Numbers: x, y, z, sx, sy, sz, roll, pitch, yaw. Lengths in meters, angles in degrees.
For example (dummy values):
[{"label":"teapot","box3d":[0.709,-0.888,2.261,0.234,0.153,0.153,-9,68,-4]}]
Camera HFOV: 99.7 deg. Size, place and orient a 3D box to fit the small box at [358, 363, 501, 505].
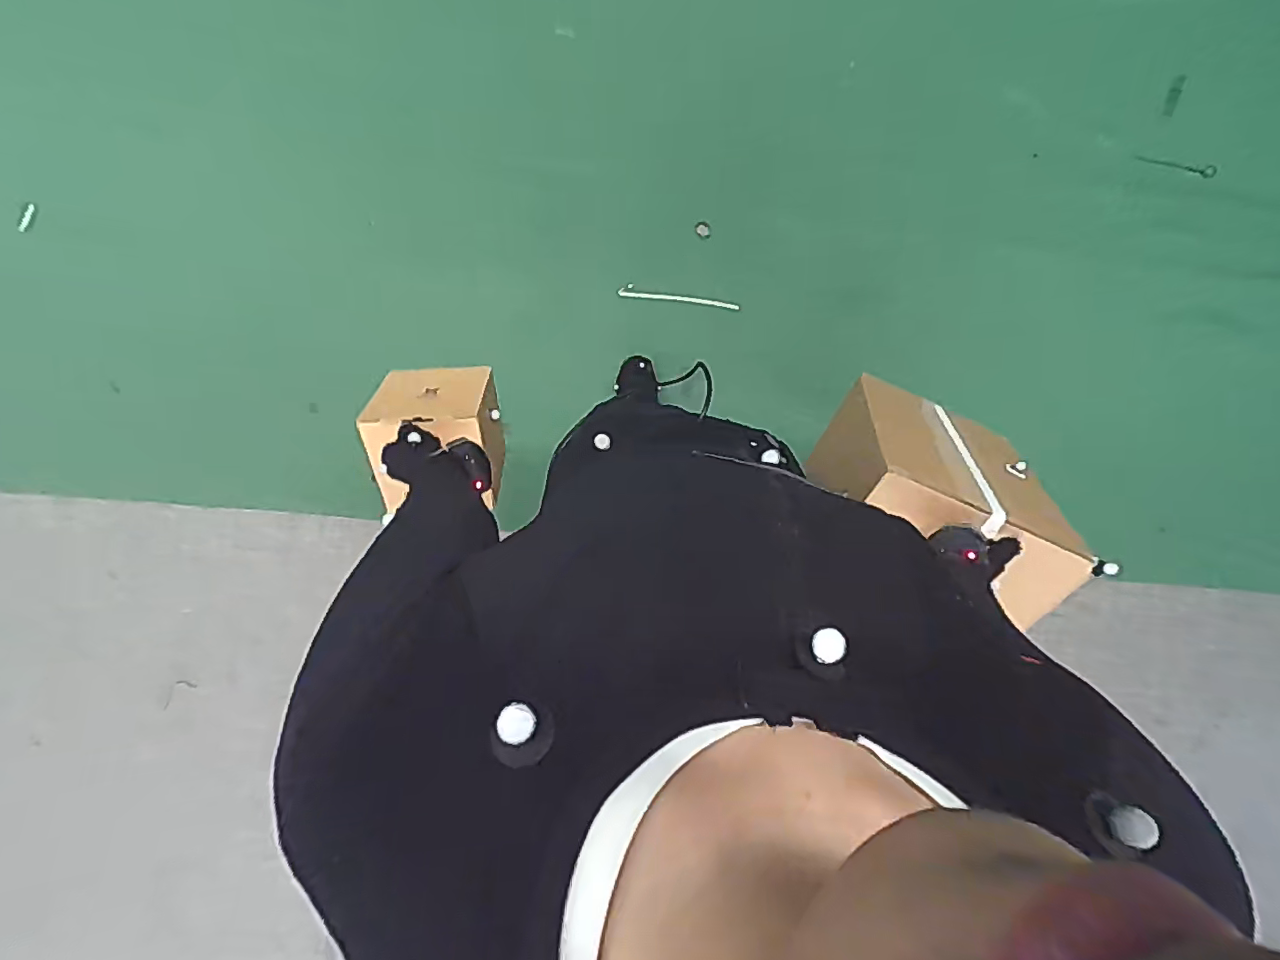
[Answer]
[{"label":"small box","box3d":[-0.323,-0.077,0.872,0.168,0.179,0.176,-2,127,-5]}]
